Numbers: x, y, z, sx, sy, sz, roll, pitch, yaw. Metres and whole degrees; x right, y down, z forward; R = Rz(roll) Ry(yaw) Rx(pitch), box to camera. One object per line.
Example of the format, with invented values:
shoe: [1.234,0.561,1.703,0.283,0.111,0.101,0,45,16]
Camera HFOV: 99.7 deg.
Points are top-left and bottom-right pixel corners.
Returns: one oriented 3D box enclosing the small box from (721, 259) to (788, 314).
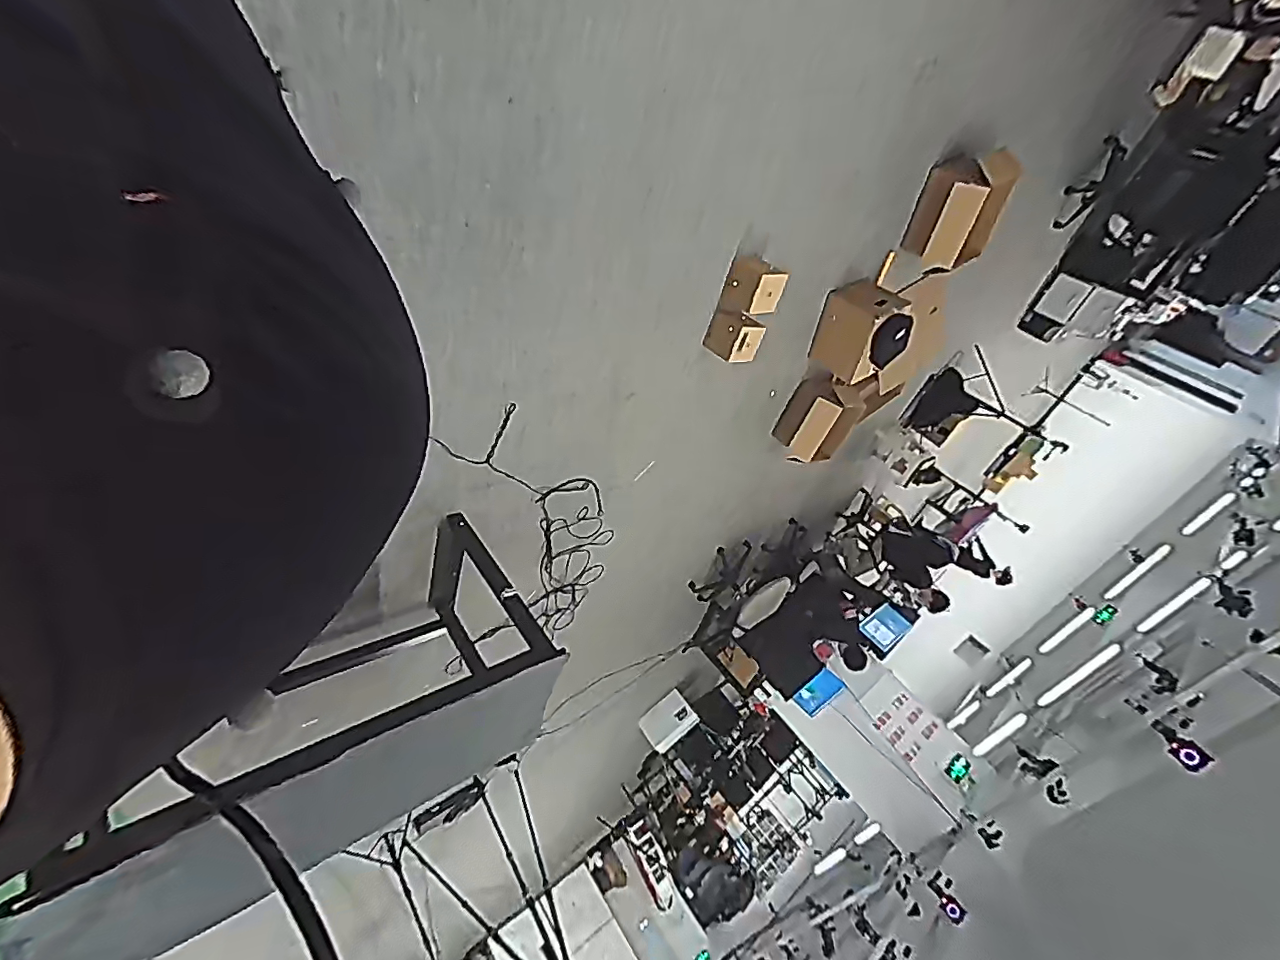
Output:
small box: [0.471,-0.807,2.243,0.179,0.176,0.168,-17,139,-37]
